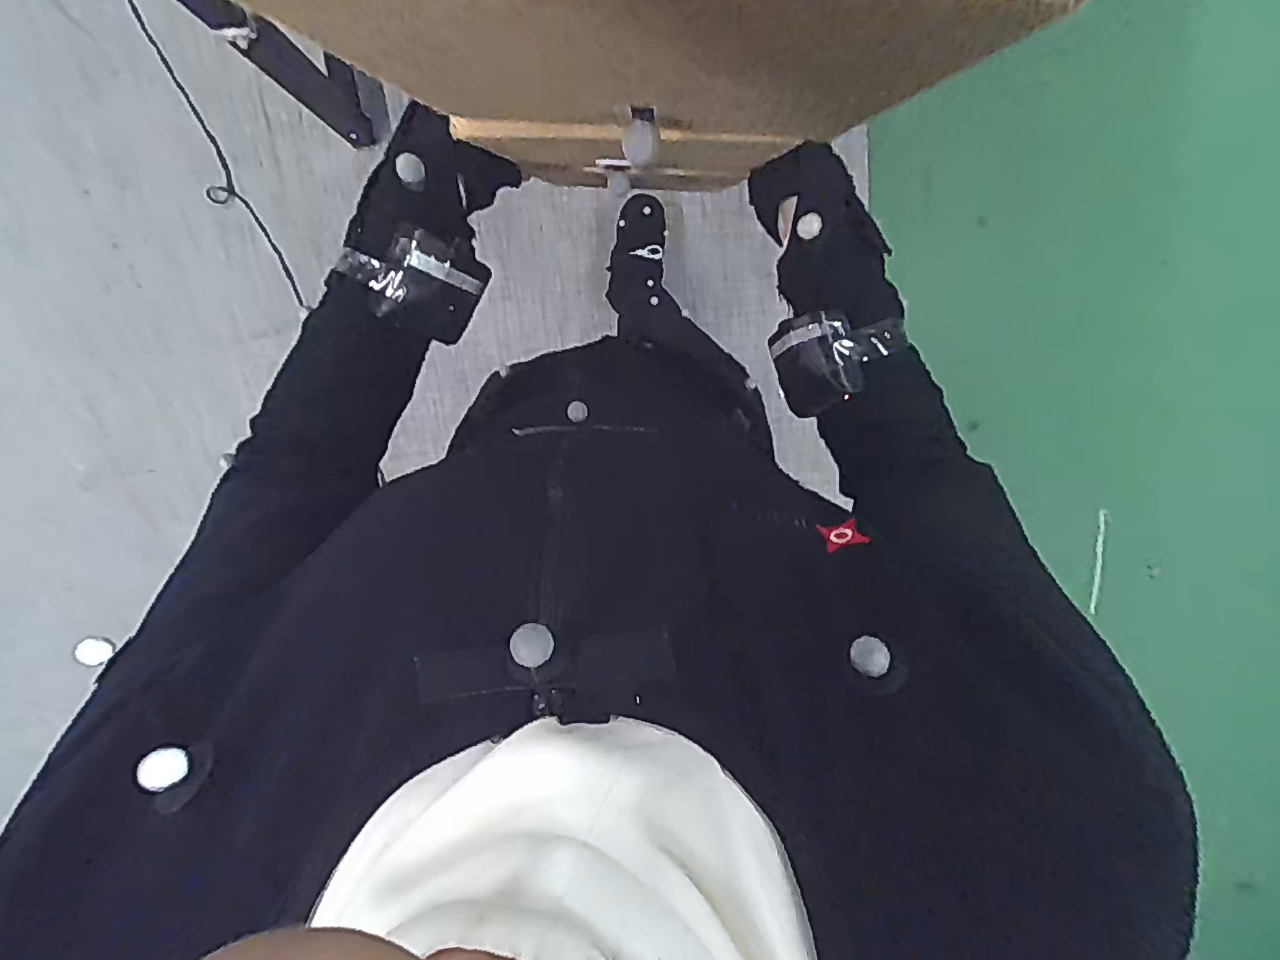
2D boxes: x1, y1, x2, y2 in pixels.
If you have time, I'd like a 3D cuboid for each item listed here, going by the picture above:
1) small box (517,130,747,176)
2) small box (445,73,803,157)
[{"bbox_3d":[-0.002,-0.354,0.447,0.179,0.176,0.168,2,116,-2],"label":"small box"},{"bbox_3d":[-0.003,-0.283,0.284,0.168,0.176,0.179,2,116,1],"label":"small box"}]
